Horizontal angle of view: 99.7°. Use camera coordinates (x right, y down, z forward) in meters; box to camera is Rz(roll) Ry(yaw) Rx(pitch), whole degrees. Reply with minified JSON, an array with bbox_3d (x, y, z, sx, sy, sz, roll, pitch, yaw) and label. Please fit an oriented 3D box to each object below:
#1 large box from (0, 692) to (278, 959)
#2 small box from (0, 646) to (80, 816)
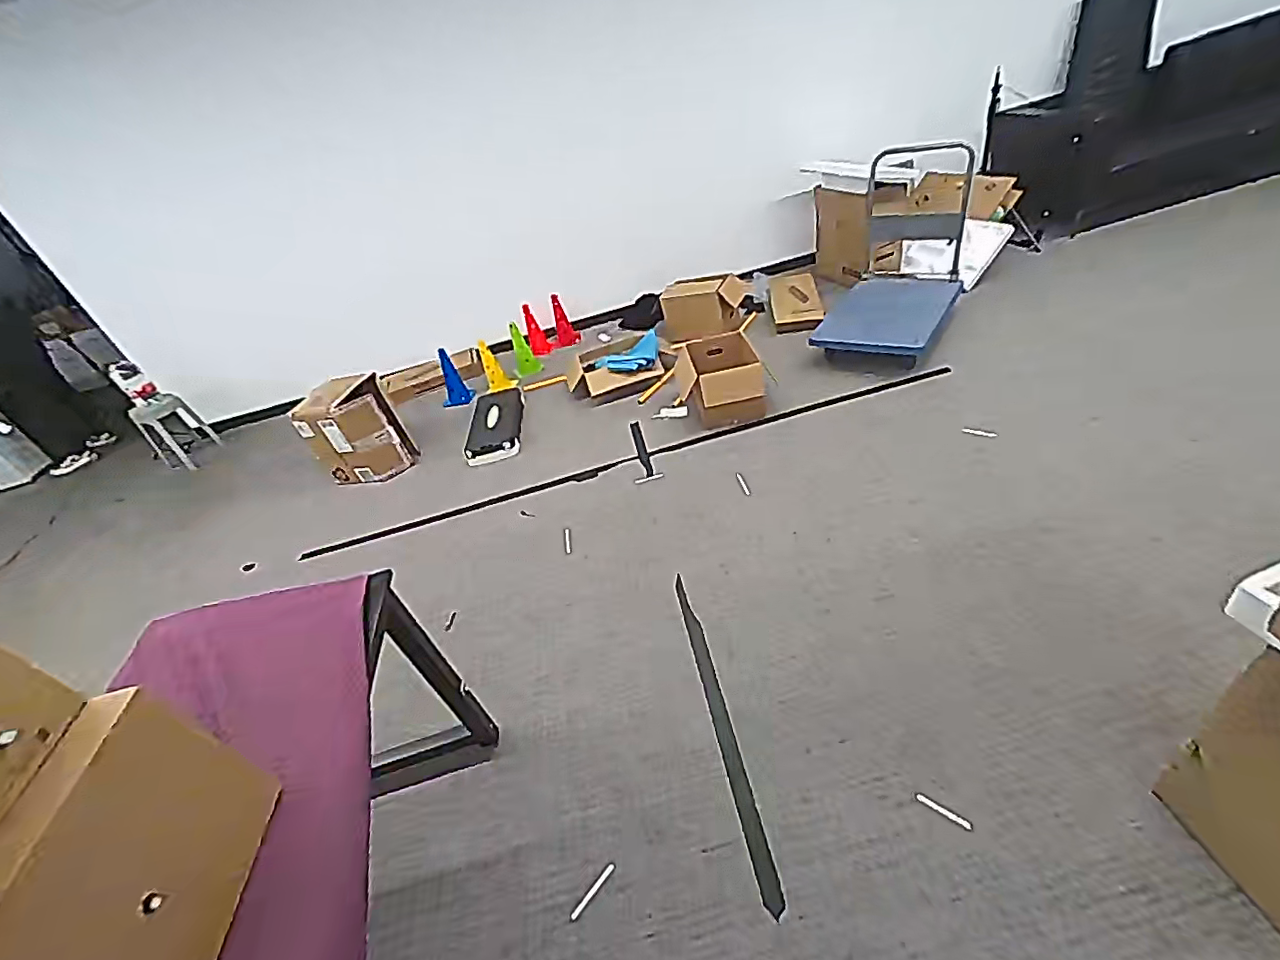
[{"bbox_3d":[-0.729,0.545,0.642,0.320,0.320,0.408,-17,38,1],"label":"large box"},{"bbox_3d":[-0.800,0.291,0.584,0.179,0.176,0.168,-16,39,1],"label":"small box"}]
